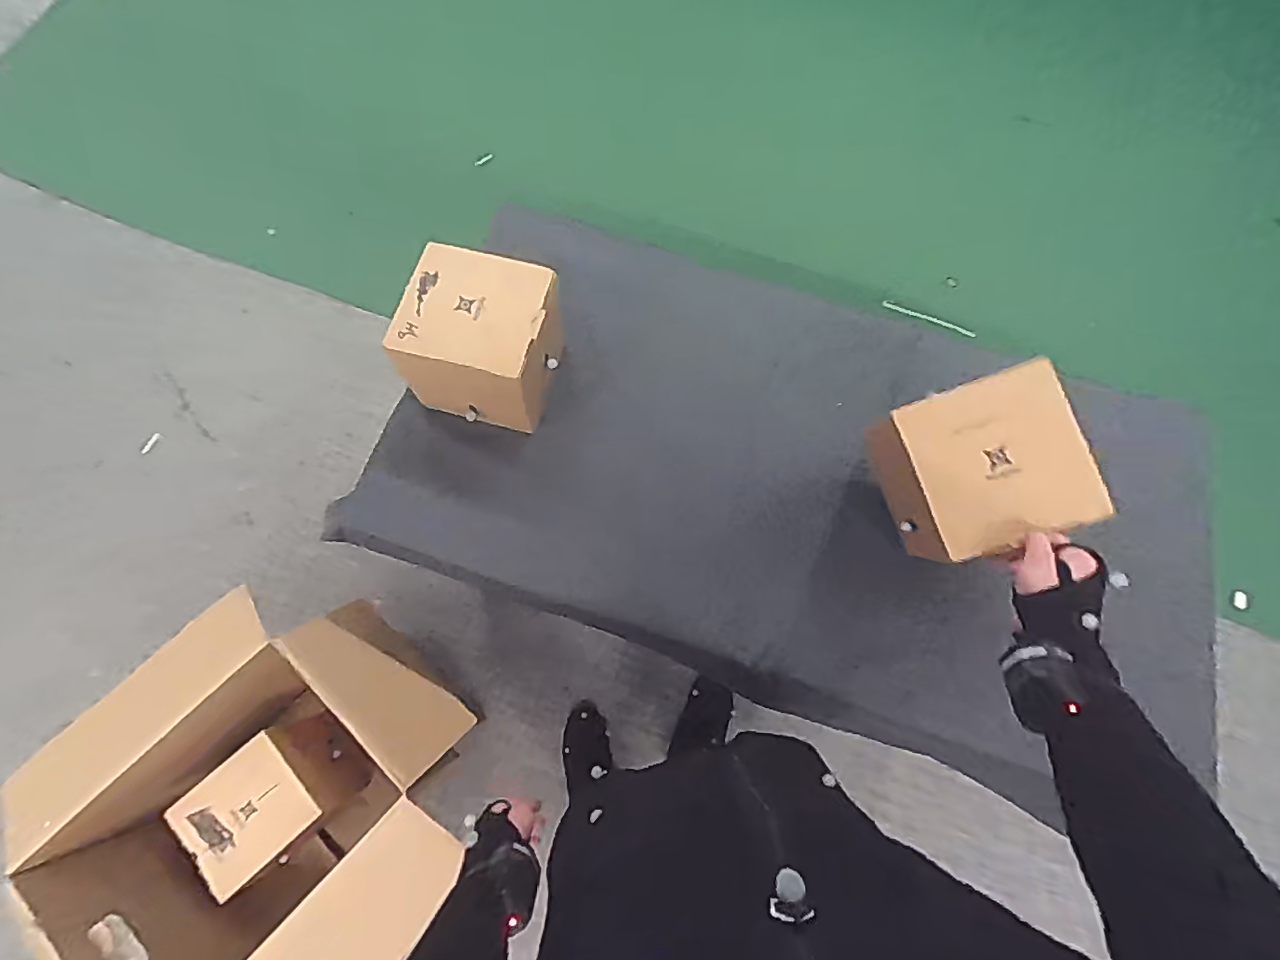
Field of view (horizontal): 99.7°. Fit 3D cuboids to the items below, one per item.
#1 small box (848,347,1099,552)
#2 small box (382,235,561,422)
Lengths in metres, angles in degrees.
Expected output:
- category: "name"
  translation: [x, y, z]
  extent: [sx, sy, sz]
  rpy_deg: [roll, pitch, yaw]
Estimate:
- category: "small box"
  translation: [0.374, -0.027, 0.645]
  extent: [0.168, 0.176, 0.179]
  rpy_deg: [-22, 82, 6]
- category: "small box"
  translation: [-0.214, -0.198, 0.749]
  extent: [0.179, 0.176, 0.168]
  rpy_deg: [15, 71, 0]
